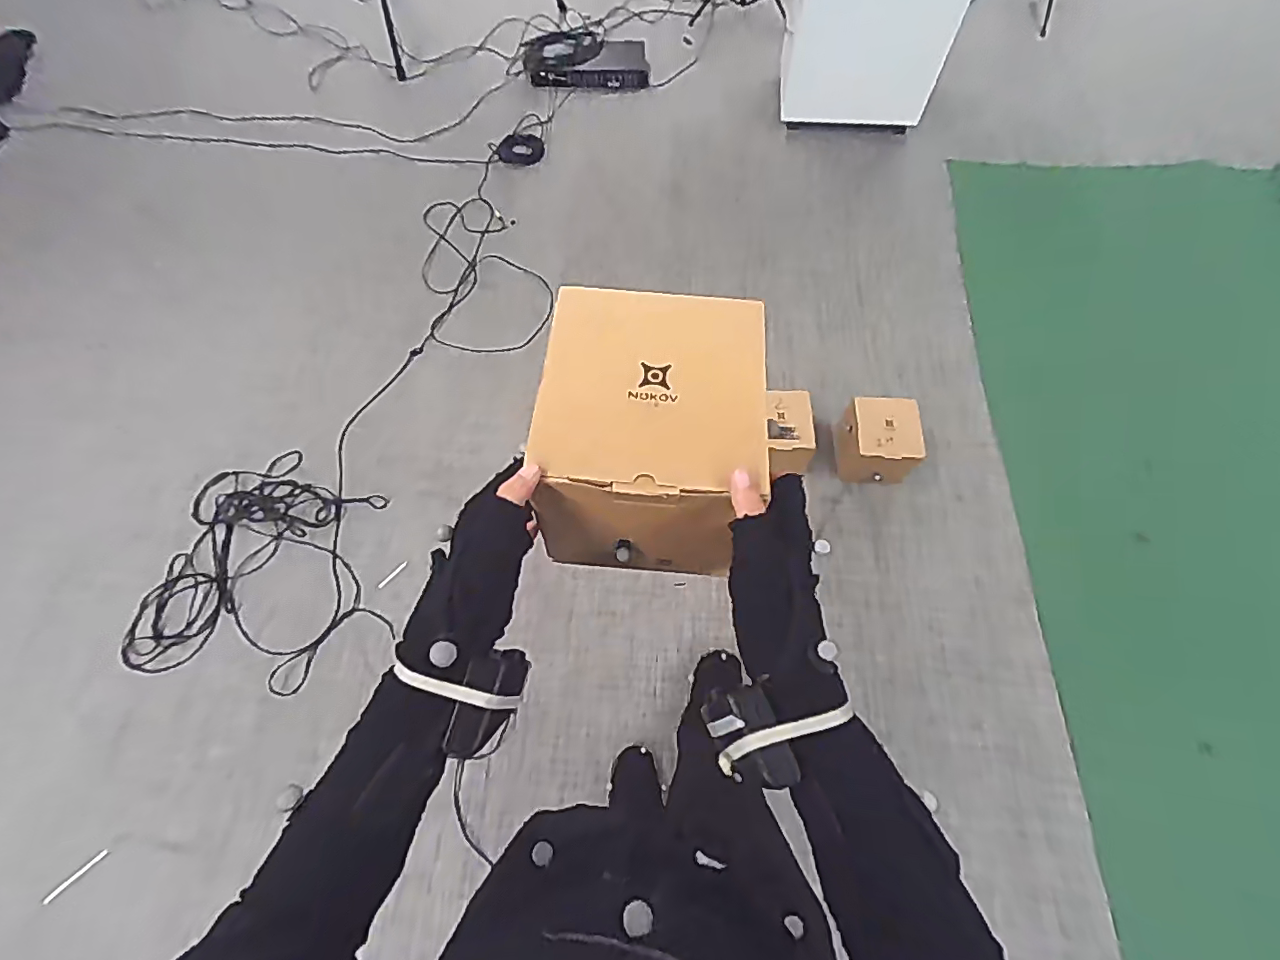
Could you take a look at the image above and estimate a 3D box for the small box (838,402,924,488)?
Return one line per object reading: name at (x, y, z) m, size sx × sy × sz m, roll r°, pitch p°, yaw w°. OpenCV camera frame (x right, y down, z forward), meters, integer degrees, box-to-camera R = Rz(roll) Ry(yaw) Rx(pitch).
small box at (0.650, -0.093, 1.480) m, size 0.168 × 0.176 × 0.179 m, roll 3°, pitch 67°, yaw 4°
